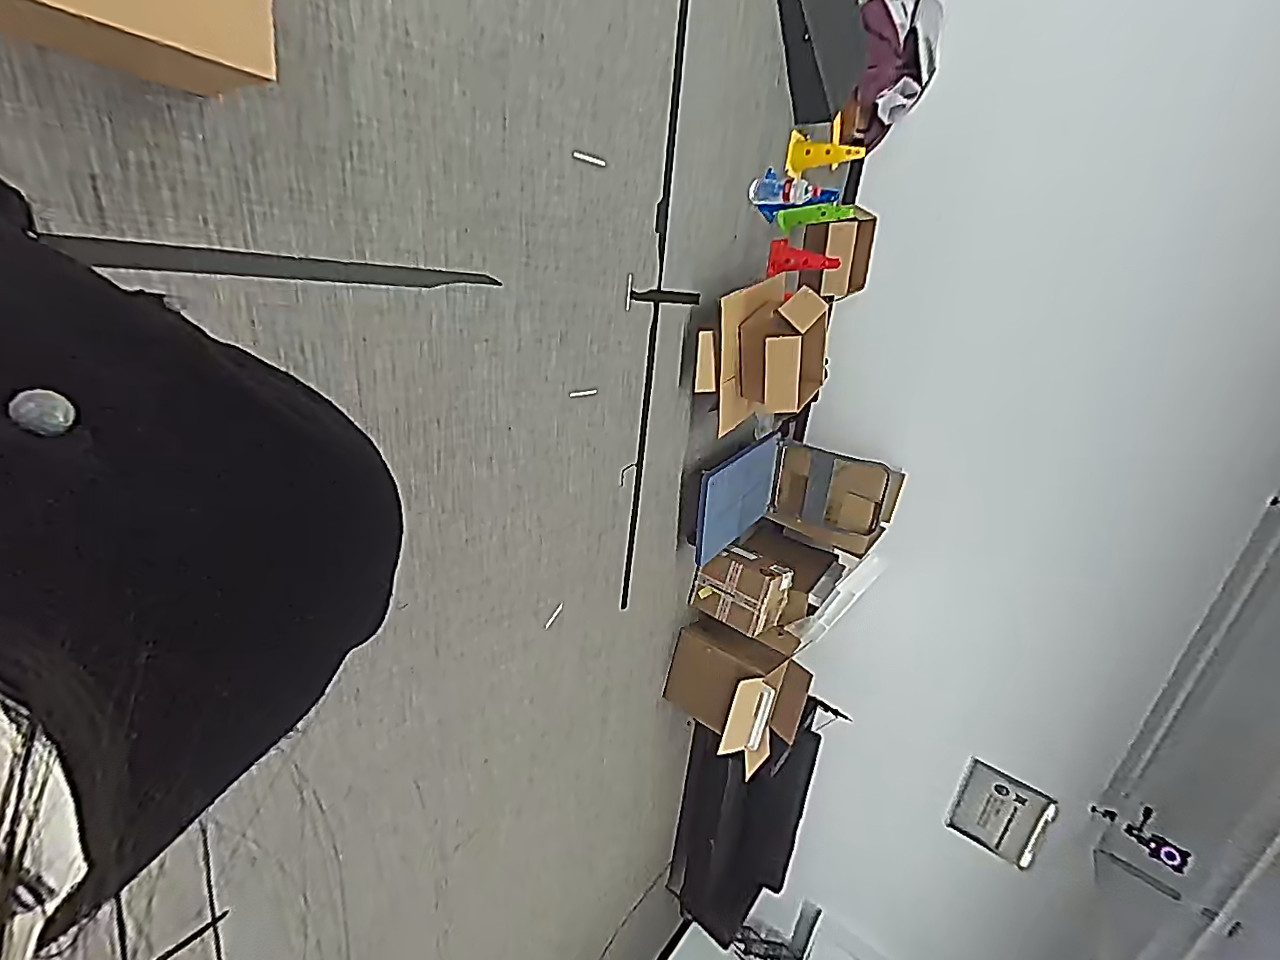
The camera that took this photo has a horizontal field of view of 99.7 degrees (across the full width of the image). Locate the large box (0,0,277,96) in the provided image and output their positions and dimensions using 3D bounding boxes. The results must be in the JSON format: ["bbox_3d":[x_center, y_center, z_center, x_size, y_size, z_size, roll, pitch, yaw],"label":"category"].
[{"bbox_3d":[-0.821,-0.809,0.774,0.408,0.320,0.320,-17,121,-51],"label":"large box"}]
